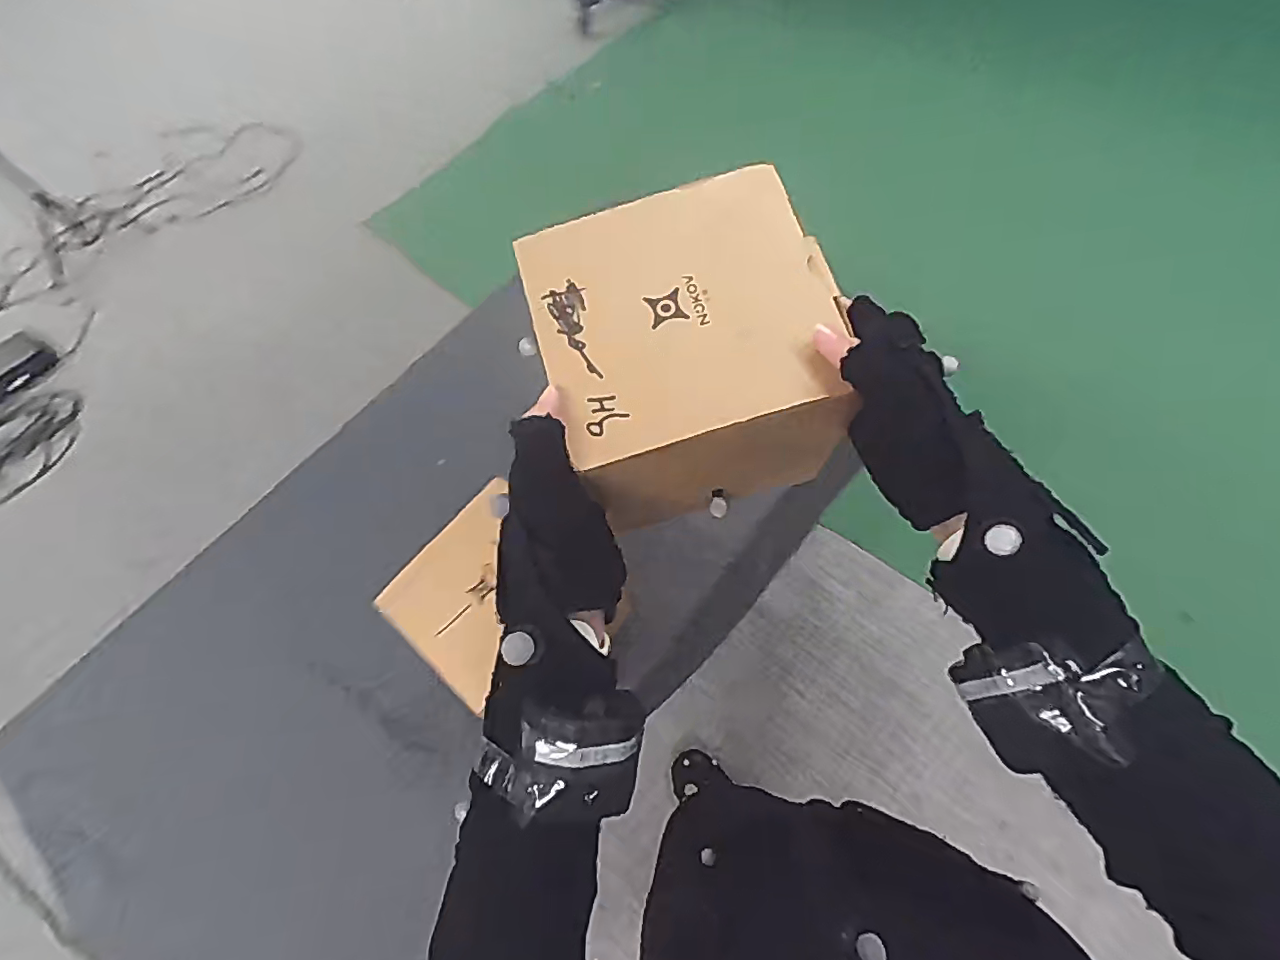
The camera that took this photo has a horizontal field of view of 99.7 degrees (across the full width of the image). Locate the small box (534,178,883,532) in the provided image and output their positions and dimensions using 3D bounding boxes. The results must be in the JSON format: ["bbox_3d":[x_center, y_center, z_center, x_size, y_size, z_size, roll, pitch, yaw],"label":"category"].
[{"bbox_3d":[0.039,-0.074,0.399,0.179,0.176,0.168,-16,70,0],"label":"small box"}]

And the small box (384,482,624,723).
[{"bbox_3d":[-0.133,0.141,0.603,0.168,0.176,0.179,37,73,26],"label":"small box"}]
